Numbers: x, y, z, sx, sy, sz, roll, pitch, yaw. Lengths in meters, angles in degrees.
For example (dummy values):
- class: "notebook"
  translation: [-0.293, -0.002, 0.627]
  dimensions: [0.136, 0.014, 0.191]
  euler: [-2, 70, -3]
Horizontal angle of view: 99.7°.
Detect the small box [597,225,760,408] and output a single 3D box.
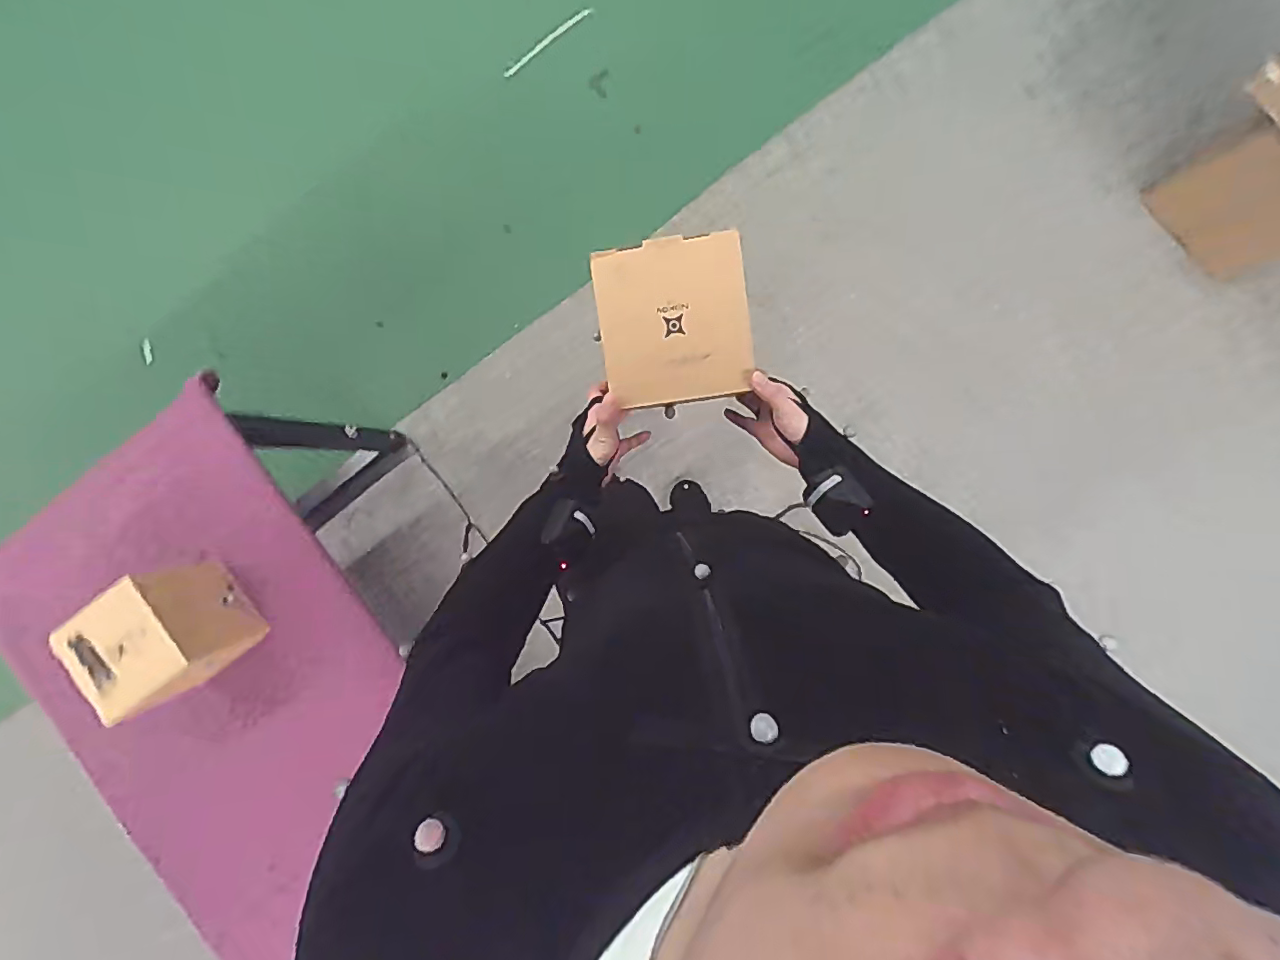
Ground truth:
- class: "small box"
  translation: [0.045, -0.184, 0.659]
  dimensions: [0.168, 0.176, 0.179]
  euler: [-6, 97, 4]
